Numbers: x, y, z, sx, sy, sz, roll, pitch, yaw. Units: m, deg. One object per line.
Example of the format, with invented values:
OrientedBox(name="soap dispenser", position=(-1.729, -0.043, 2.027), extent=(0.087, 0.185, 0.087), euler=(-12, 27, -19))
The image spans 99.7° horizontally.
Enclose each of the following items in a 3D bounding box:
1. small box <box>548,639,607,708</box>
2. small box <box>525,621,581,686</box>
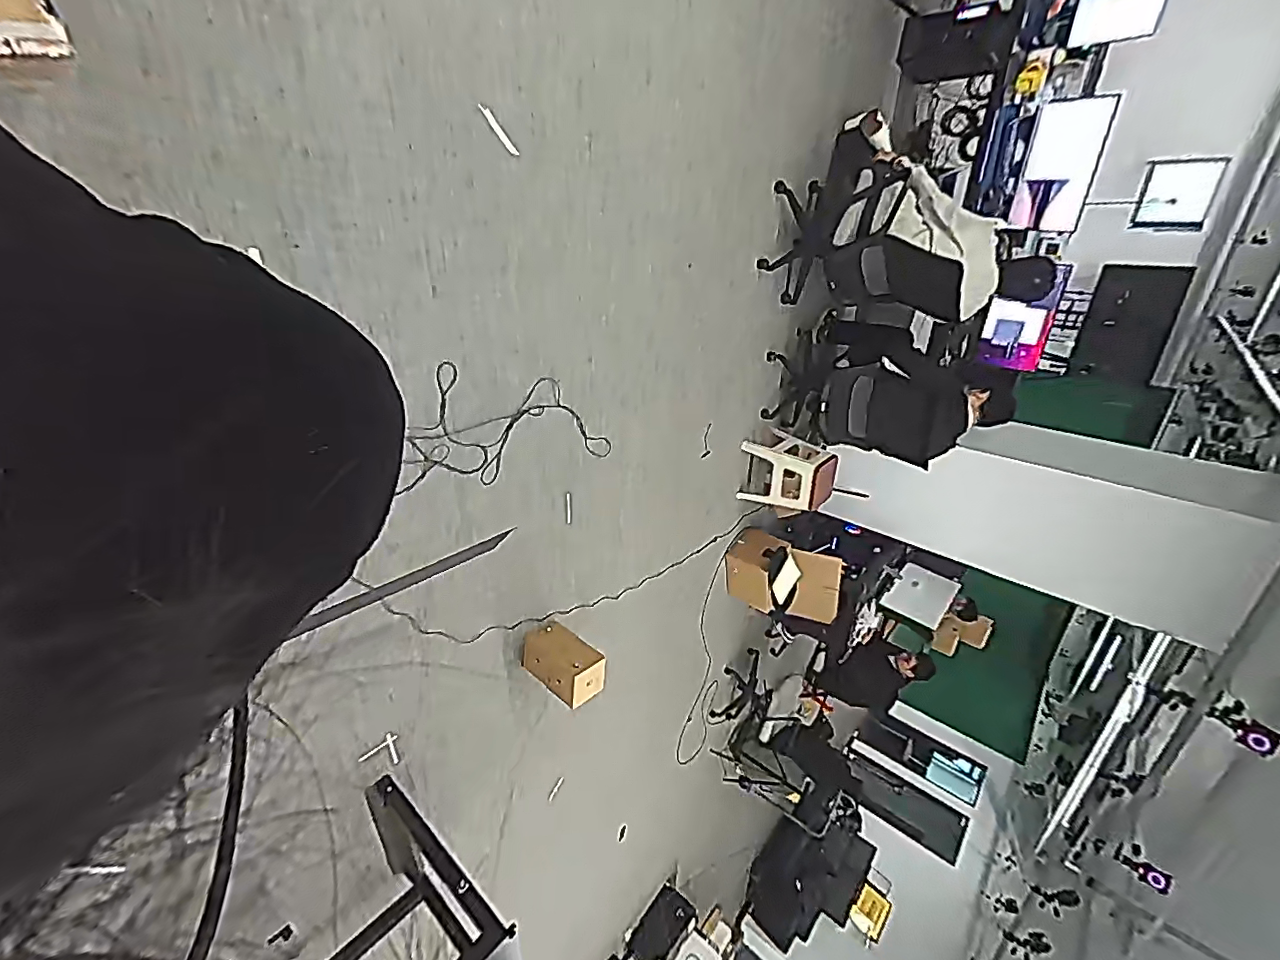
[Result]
OrientedBox(name="small box", position=(-0.259, 0.784, 2.205), extent=(0.179, 0.176, 0.168), euler=(-20, 123, -47))
OrientedBox(name="small box", position=(-0.376, 0.738, 2.311), extent=(0.168, 0.176, 0.179), euler=(-16, 119, -48))
